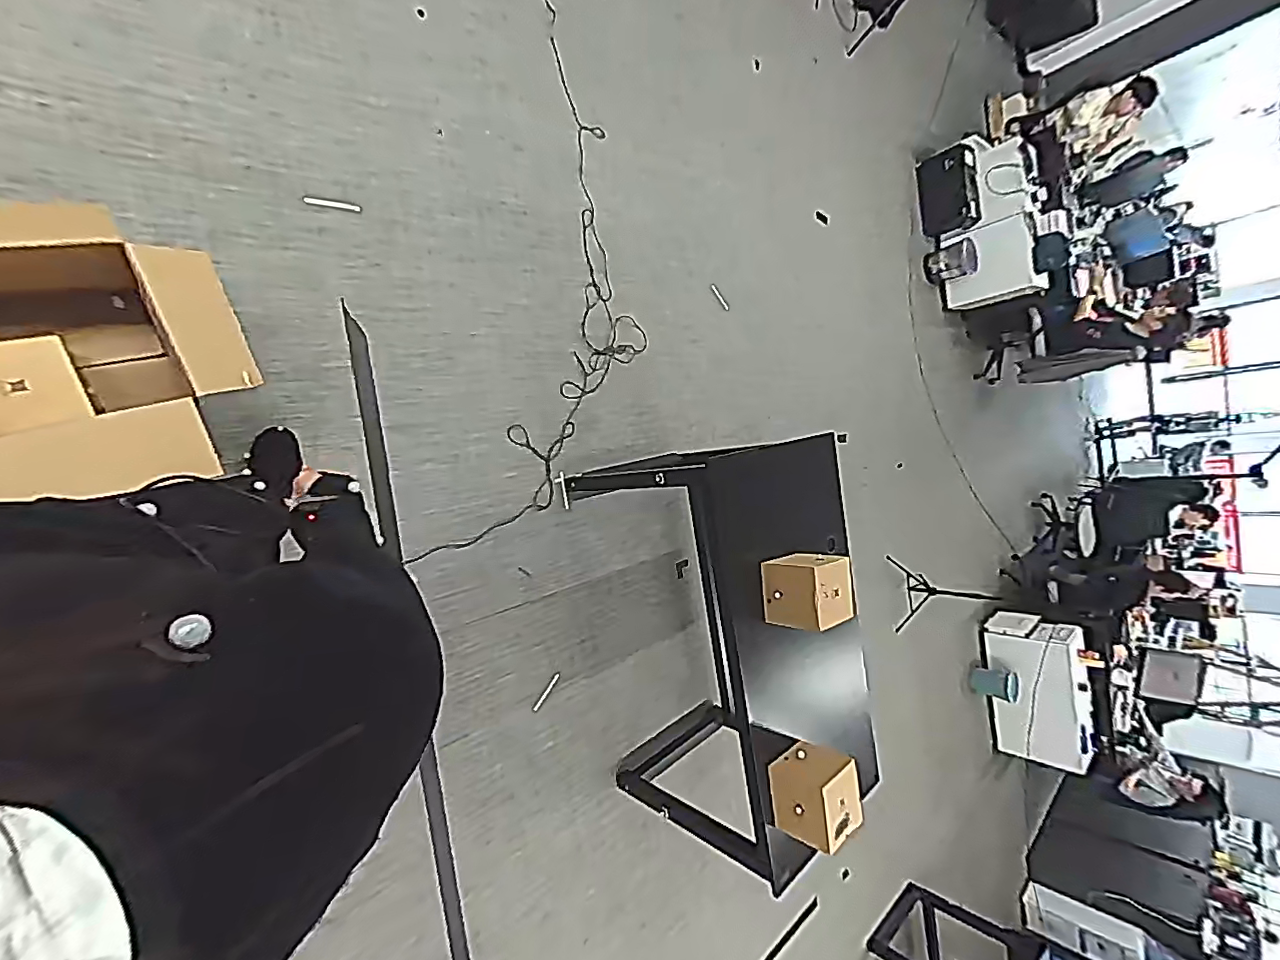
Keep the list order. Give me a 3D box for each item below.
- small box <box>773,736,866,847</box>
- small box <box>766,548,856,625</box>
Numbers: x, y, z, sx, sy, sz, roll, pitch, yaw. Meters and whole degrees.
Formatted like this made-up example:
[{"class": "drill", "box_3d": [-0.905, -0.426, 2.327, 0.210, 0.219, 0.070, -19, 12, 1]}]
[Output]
[{"class": "small box", "box_3d": [0.479, 0.824, 1.452, 0.168, 0.176, 0.179, -10, 93, -40]}, {"class": "small box", "box_3d": [0.464, 0.281, 1.470, 0.179, 0.176, 0.168, -5, 91, -40]}]
